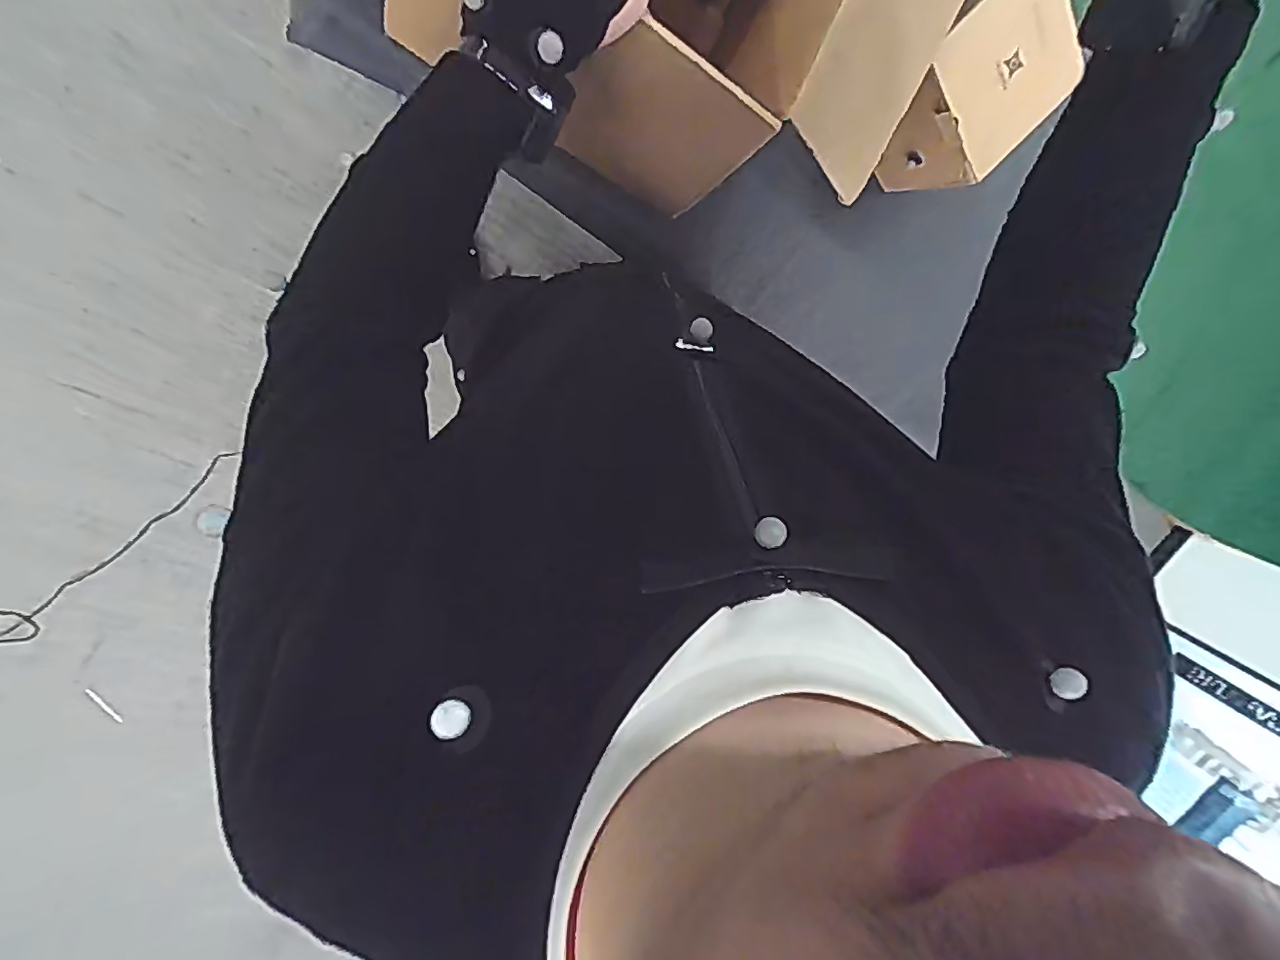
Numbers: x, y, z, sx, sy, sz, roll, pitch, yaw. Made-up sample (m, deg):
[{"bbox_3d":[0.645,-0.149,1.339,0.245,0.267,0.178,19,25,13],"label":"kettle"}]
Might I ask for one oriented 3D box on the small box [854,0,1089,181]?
[{"bbox_3d":[0.401,-0.507,0.682,0.179,0.176,0.168,-45,121,5],"label":"small box"}]
